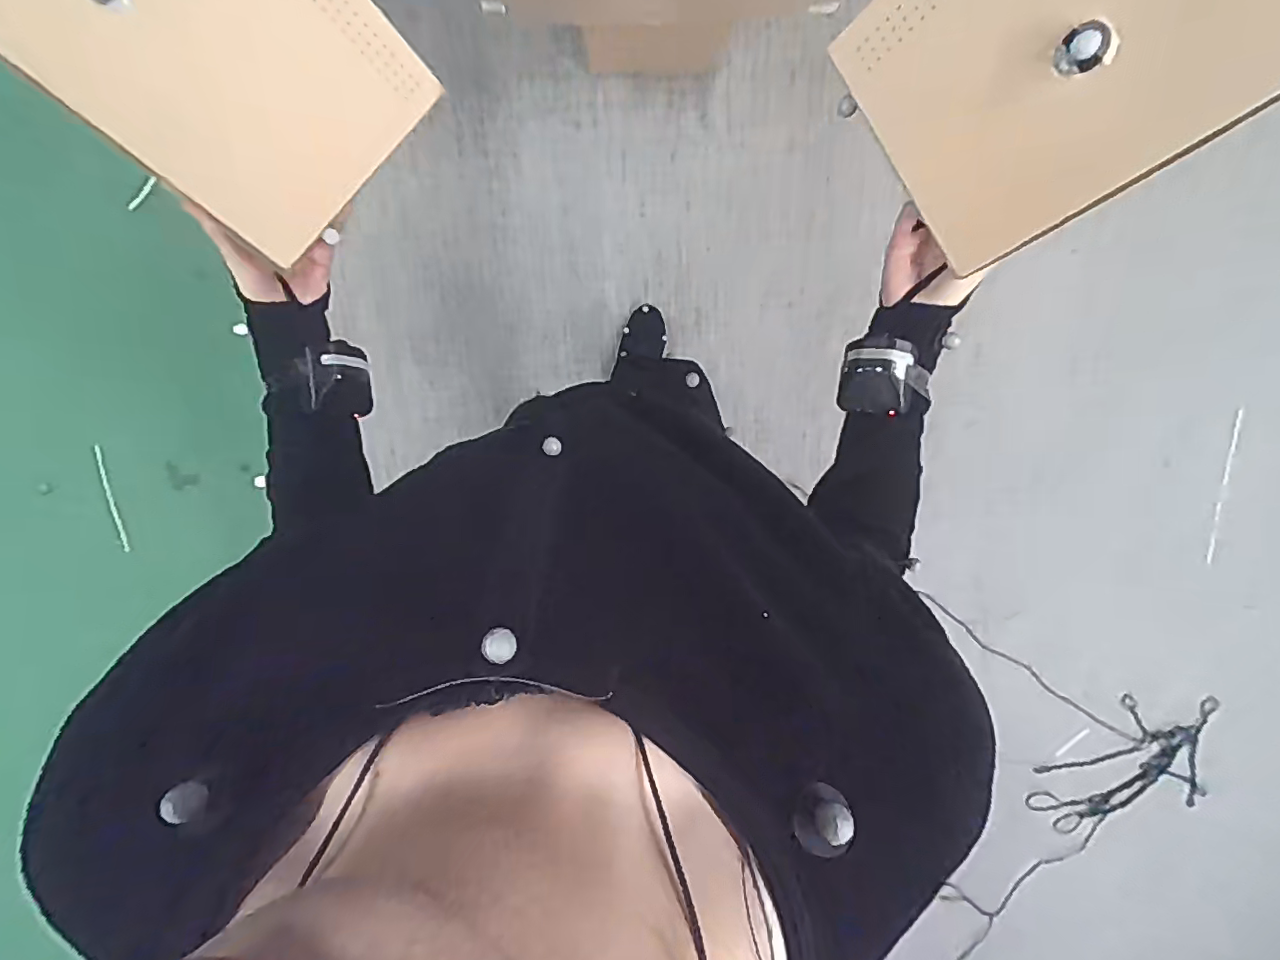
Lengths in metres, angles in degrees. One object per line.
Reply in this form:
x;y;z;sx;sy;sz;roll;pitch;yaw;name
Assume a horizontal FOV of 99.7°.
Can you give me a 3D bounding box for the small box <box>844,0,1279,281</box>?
0.250;-0.257;0.333;0.179;0.168;0.176;-30;97;43;small box
